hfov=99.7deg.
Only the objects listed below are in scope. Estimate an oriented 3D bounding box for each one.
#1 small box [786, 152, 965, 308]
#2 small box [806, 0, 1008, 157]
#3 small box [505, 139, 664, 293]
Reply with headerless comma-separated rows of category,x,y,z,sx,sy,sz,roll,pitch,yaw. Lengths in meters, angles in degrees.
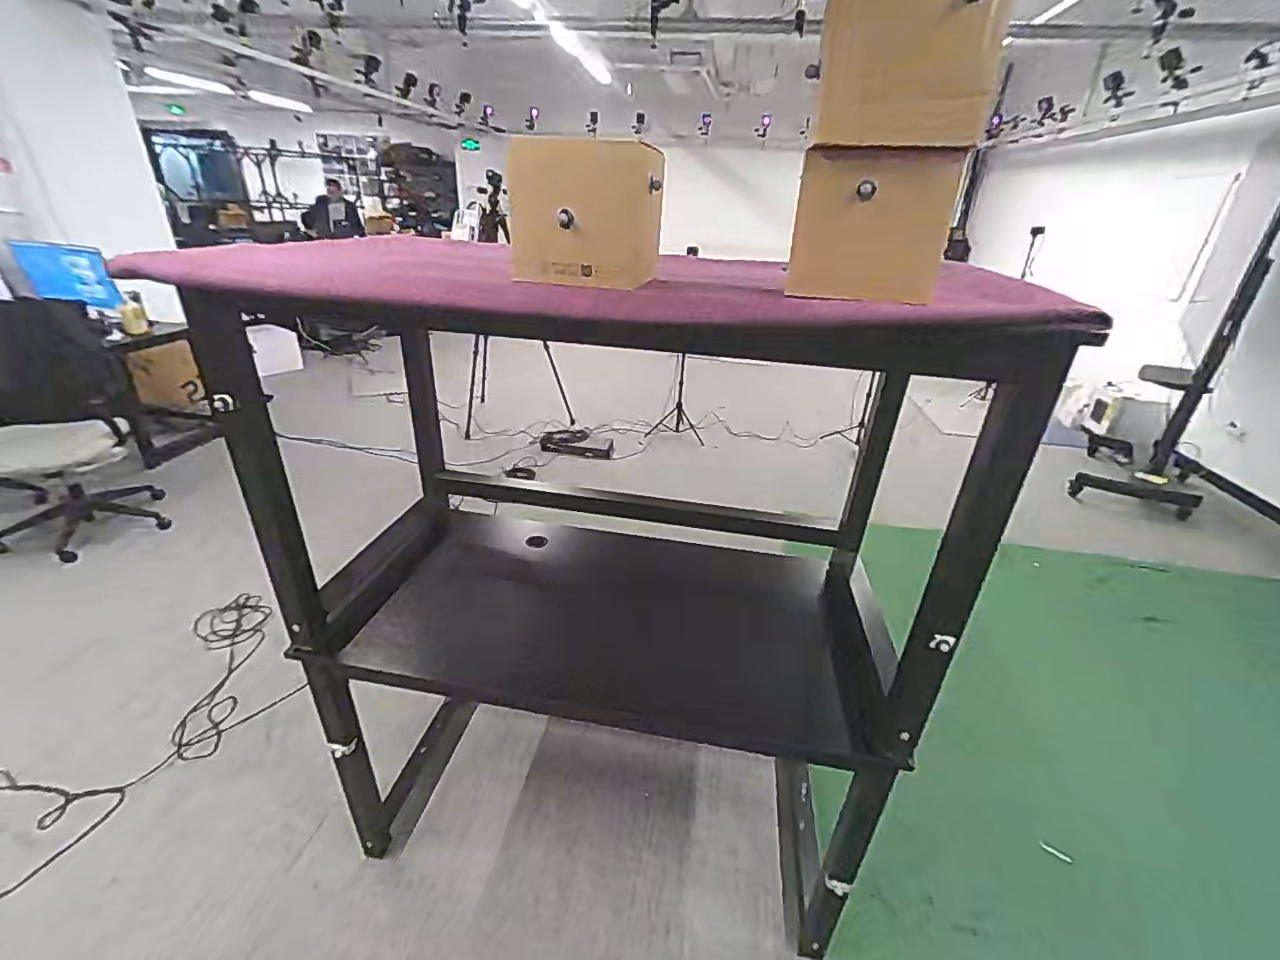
small box,0.294,-0.325,0.716,0.179,0.176,0.168,9,26,13
small box,0.296,-0.466,0.633,0.179,0.176,0.168,7,26,9
small box,-0.067,-0.357,0.739,0.168,0.176,0.179,9,28,9
